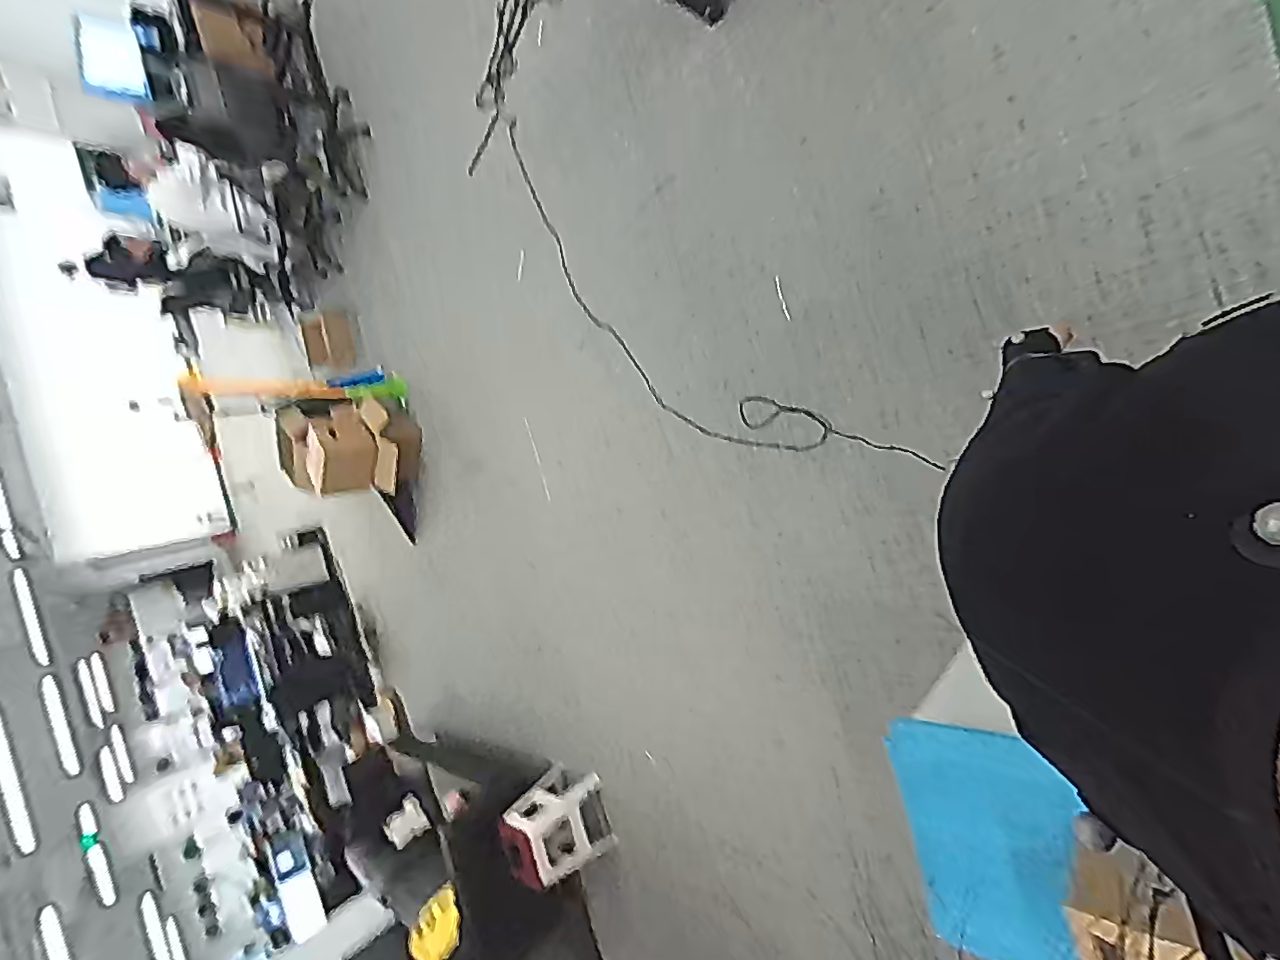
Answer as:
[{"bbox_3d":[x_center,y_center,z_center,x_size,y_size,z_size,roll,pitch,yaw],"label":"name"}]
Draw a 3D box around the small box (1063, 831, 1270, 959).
[{"bbox_3d":[0.691,0.604,0.707,0.179,0.176,0.168,-15,92,45],"label":"small box"}]
